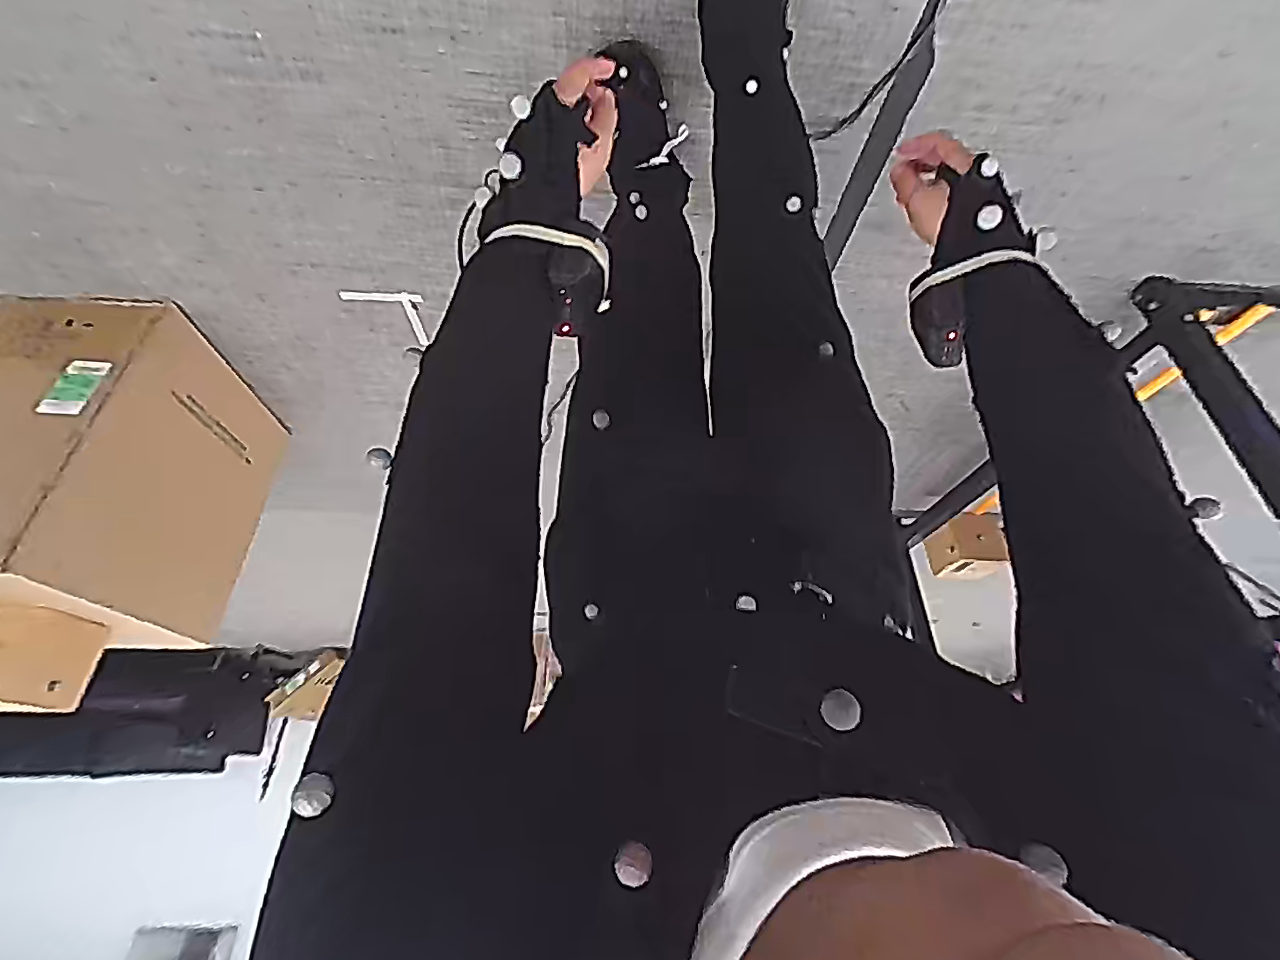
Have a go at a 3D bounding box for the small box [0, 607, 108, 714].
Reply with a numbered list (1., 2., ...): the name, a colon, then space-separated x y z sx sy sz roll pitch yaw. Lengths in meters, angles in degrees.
1. small box: -1.193 0.344 1.029 0.168 0.176 0.179 3 151 -6
